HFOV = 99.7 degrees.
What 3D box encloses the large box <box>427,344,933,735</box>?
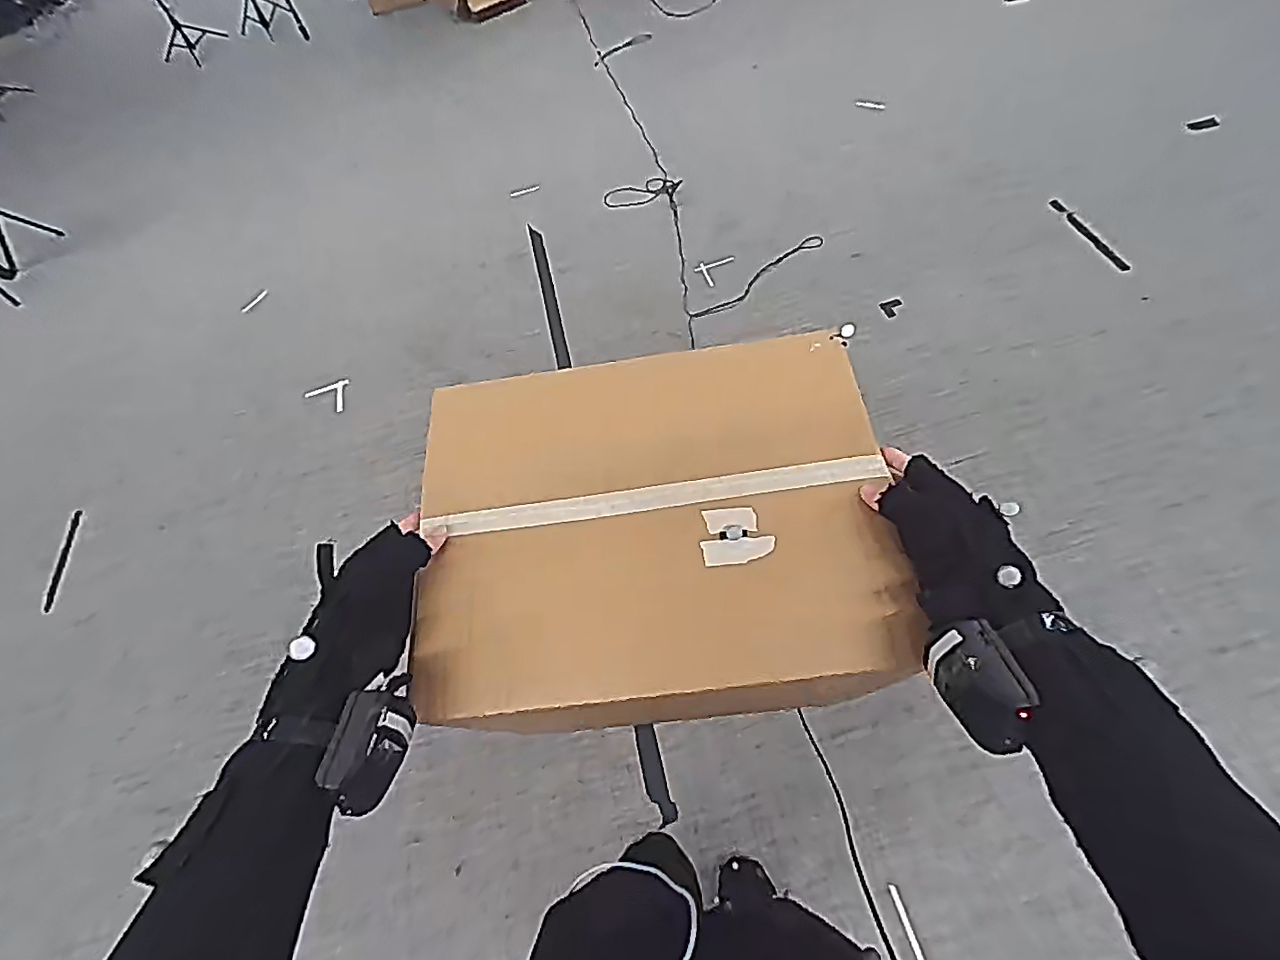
[{"bbox_3d":[0.026,0.091,0.615,0.408,0.320,0.320,-8,63,2],"label":"large box"}]
